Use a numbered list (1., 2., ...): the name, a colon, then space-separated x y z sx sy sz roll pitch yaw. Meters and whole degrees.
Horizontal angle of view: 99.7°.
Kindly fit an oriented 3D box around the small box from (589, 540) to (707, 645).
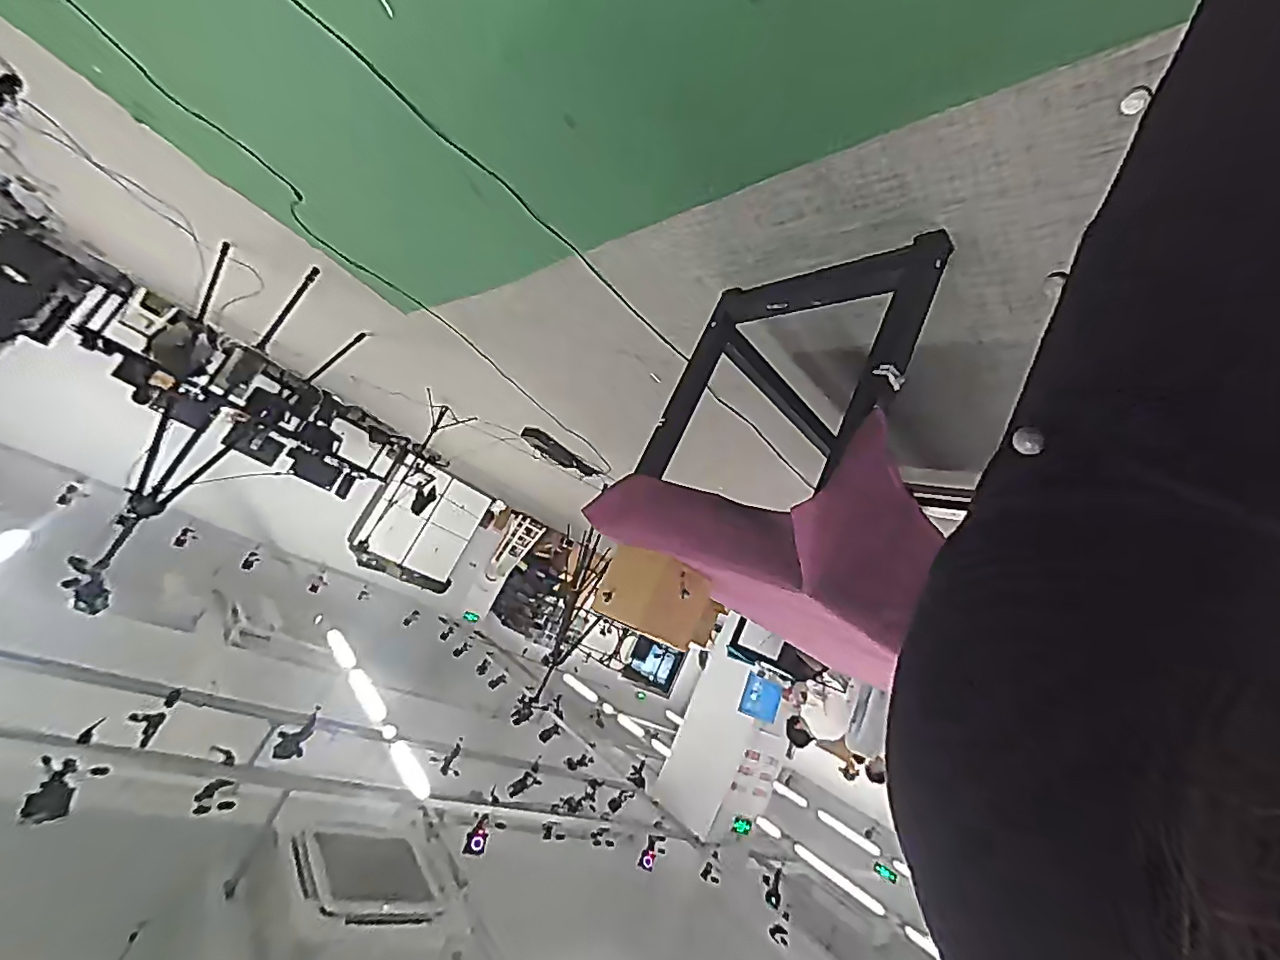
1. small box: 0.023 0.248 1.227 0.168 0.176 0.179 35 161 -37
